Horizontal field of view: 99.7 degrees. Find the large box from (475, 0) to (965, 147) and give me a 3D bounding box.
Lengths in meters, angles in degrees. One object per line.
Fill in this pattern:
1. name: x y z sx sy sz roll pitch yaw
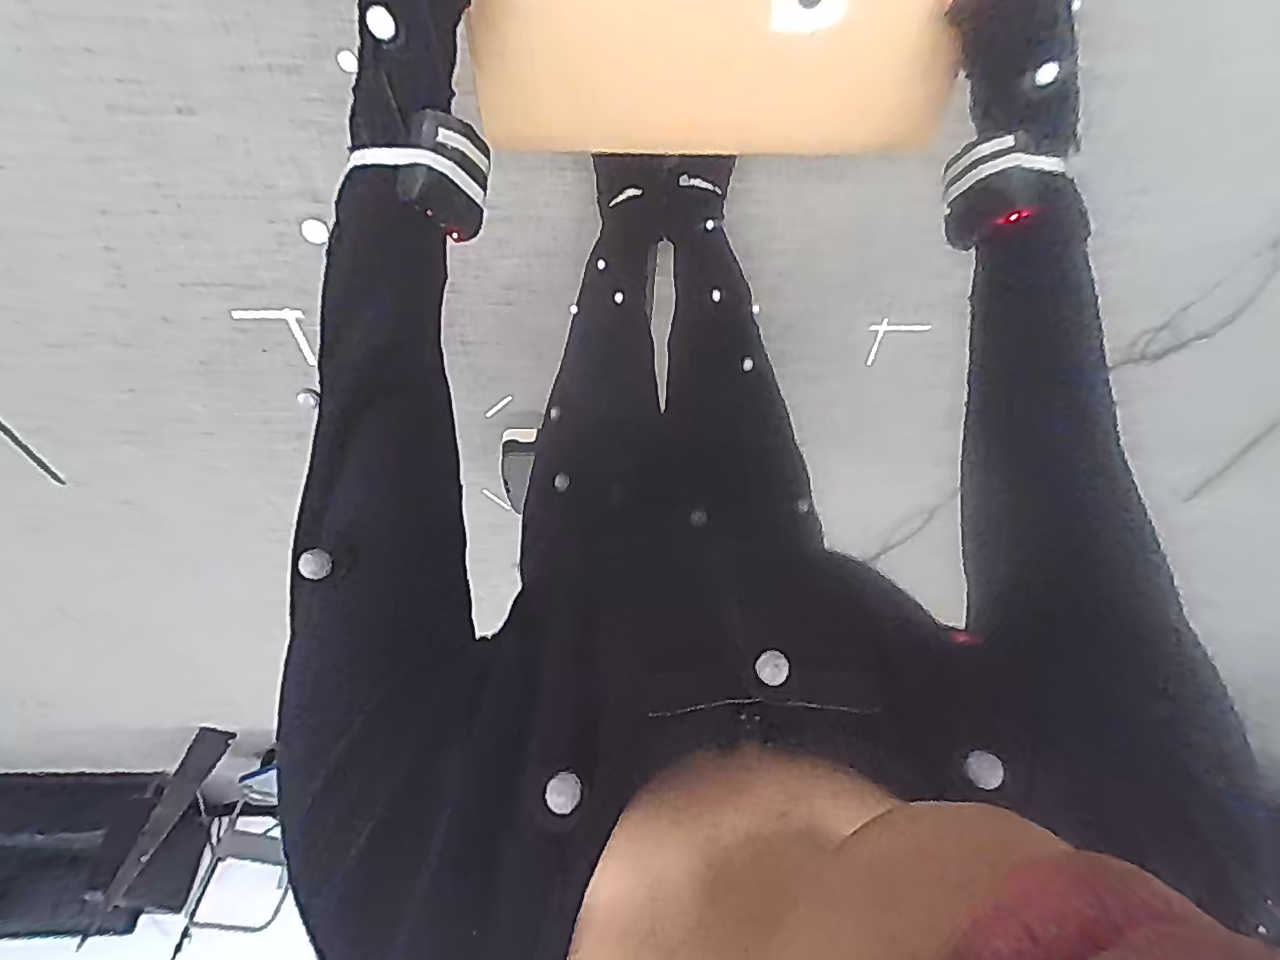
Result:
1. large box: 0.060 -0.526 0.503 0.408 0.320 0.320 -1 134 -1
